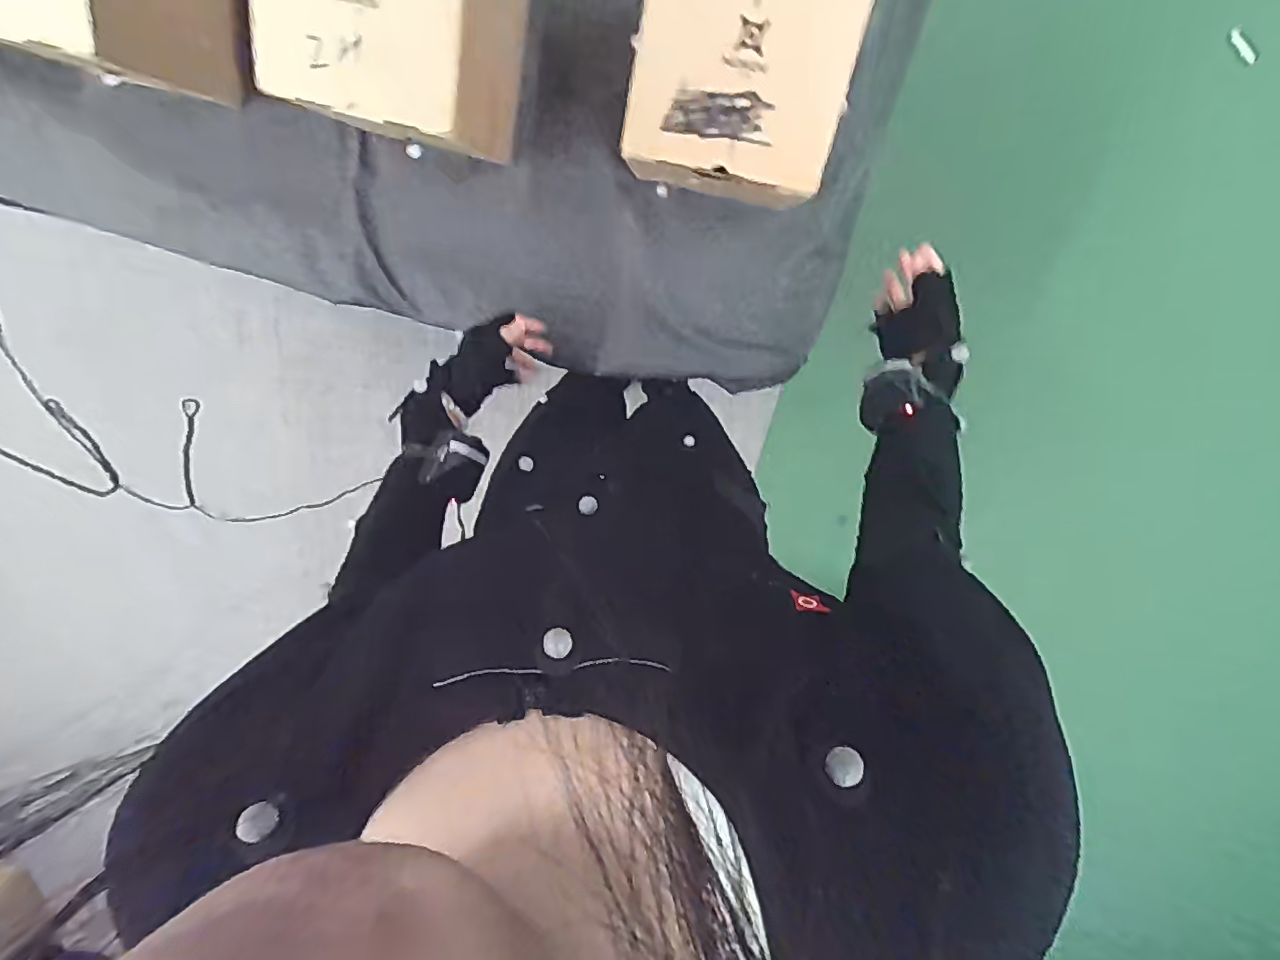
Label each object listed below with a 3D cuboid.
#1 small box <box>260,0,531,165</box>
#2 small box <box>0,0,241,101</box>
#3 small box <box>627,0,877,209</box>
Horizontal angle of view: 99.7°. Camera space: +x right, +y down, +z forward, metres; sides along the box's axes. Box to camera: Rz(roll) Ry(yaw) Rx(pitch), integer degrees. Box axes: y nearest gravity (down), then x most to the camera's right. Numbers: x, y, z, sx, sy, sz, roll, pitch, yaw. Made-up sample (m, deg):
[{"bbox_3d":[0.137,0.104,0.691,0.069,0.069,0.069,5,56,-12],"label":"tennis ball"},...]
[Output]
[{"bbox_3d":[-0.204,-0.409,0.487,0.168,0.176,0.179,14,114,-2],"label":"small box"},{"bbox_3d":[-0.496,-0.473,0.478,0.168,0.176,0.179,13,114,-3],"label":"small box"},{"bbox_3d":[0.091,-0.358,0.491,0.168,0.176,0.179,12,113,-2],"label":"small box"}]
